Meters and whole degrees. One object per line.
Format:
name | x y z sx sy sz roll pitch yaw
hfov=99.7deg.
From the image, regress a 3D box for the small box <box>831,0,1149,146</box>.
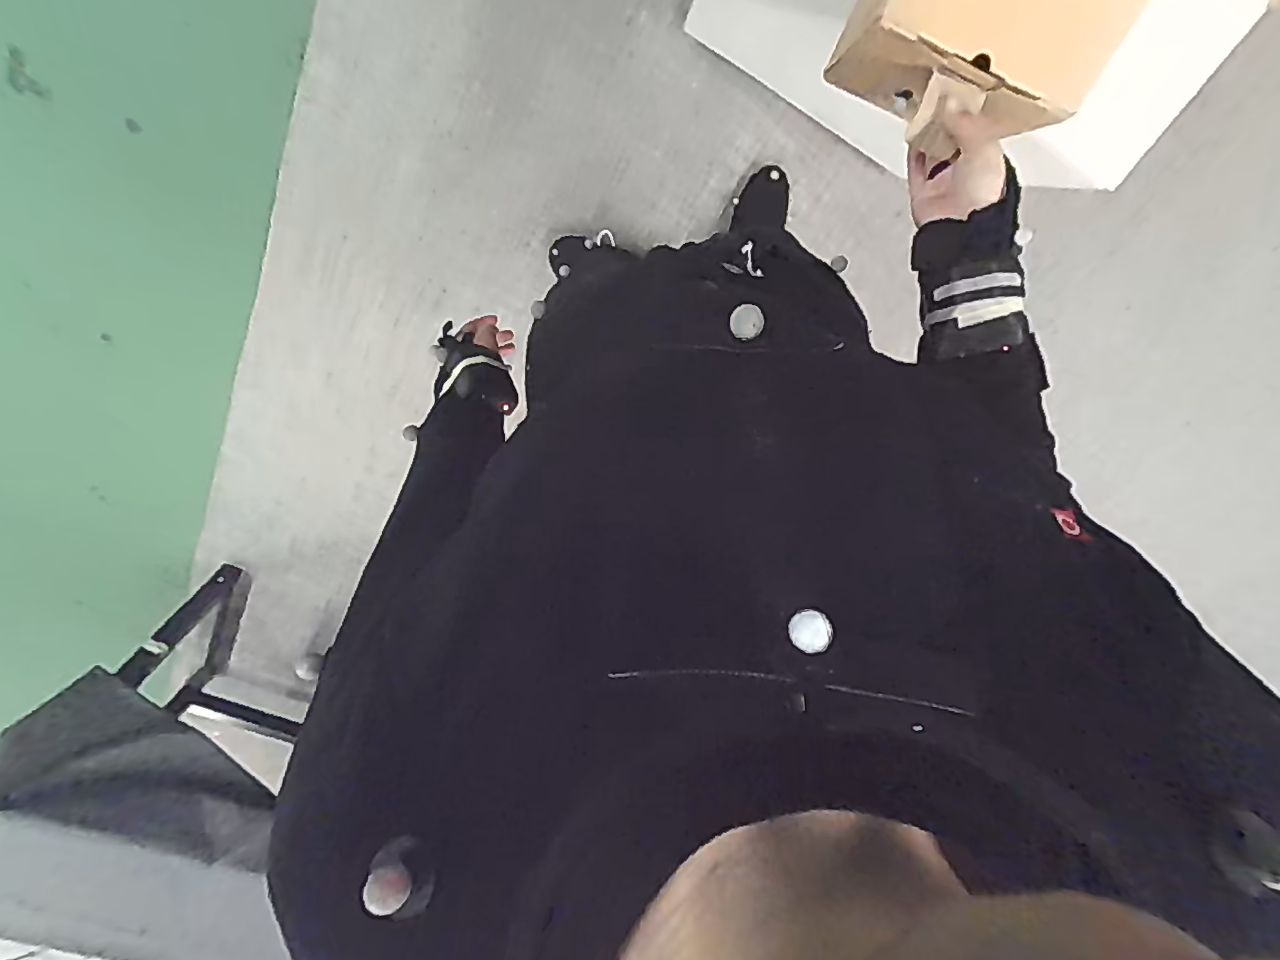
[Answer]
small box | 0.276 -0.397 0.426 0.168 0.176 0.179 21 115 -6
